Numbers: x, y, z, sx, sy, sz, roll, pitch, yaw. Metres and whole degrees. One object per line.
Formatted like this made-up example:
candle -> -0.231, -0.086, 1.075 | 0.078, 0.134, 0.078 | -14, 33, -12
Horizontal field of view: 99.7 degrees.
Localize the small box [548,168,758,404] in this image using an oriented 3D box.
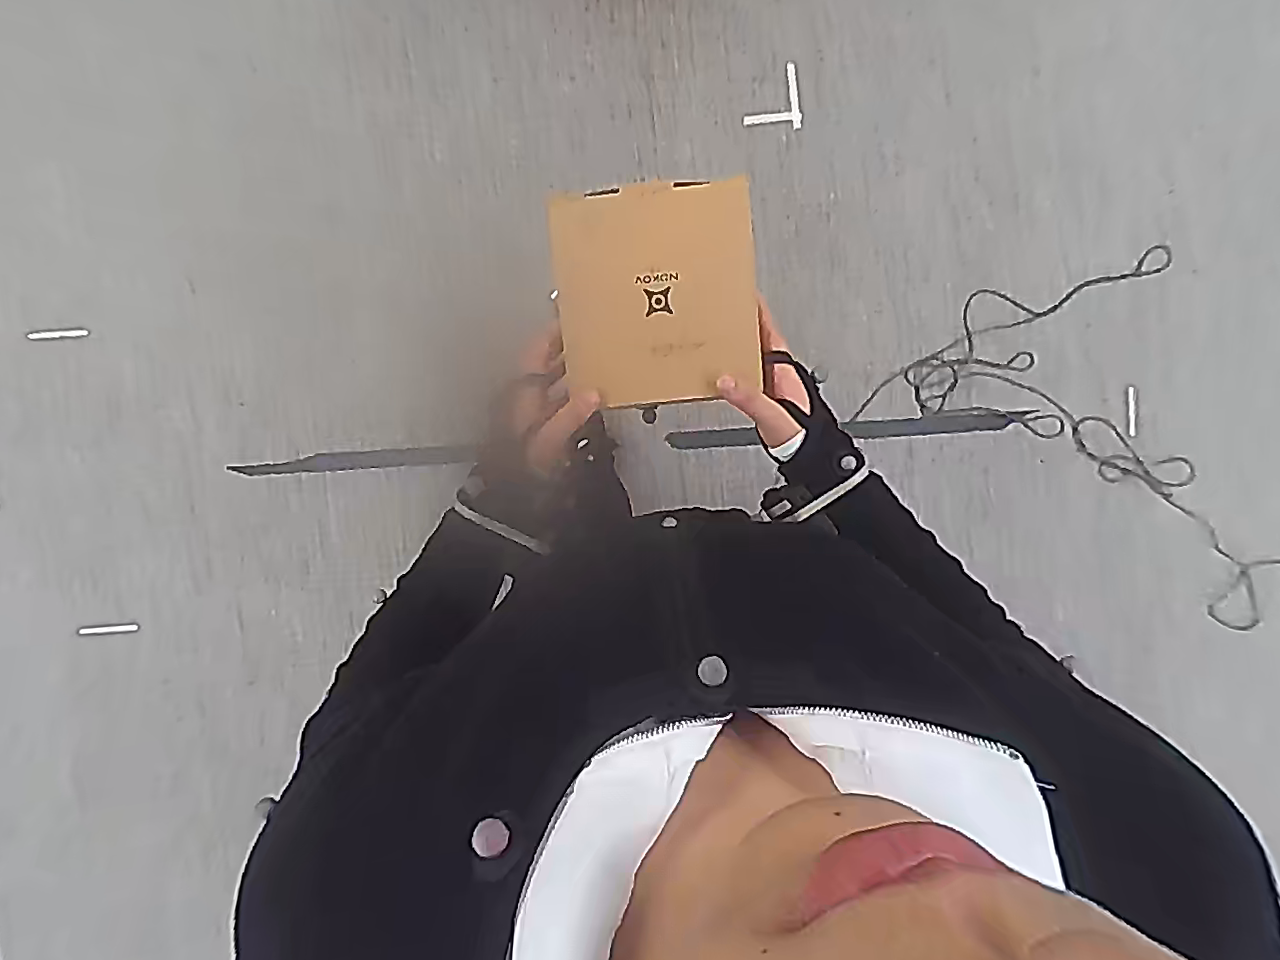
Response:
small box -> 0.010, -0.171, 0.529 | 0.168, 0.176, 0.179 | -6, 97, 0
